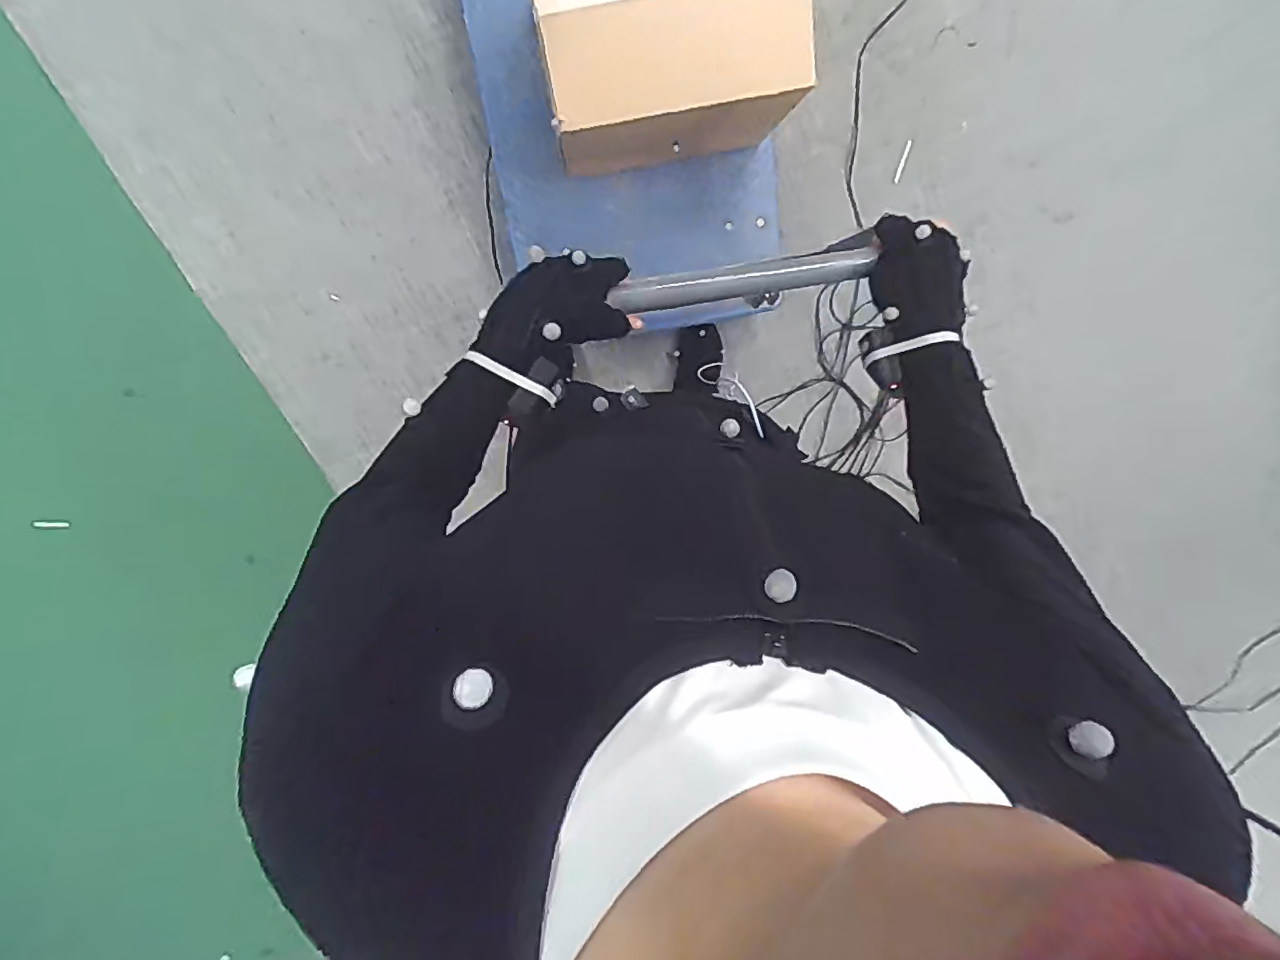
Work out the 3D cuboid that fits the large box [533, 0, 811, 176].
[{"bbox_3d":[0.038,-0.762,0.936,0.408,0.320,0.320,-11,107,0],"label":"large box"}]
